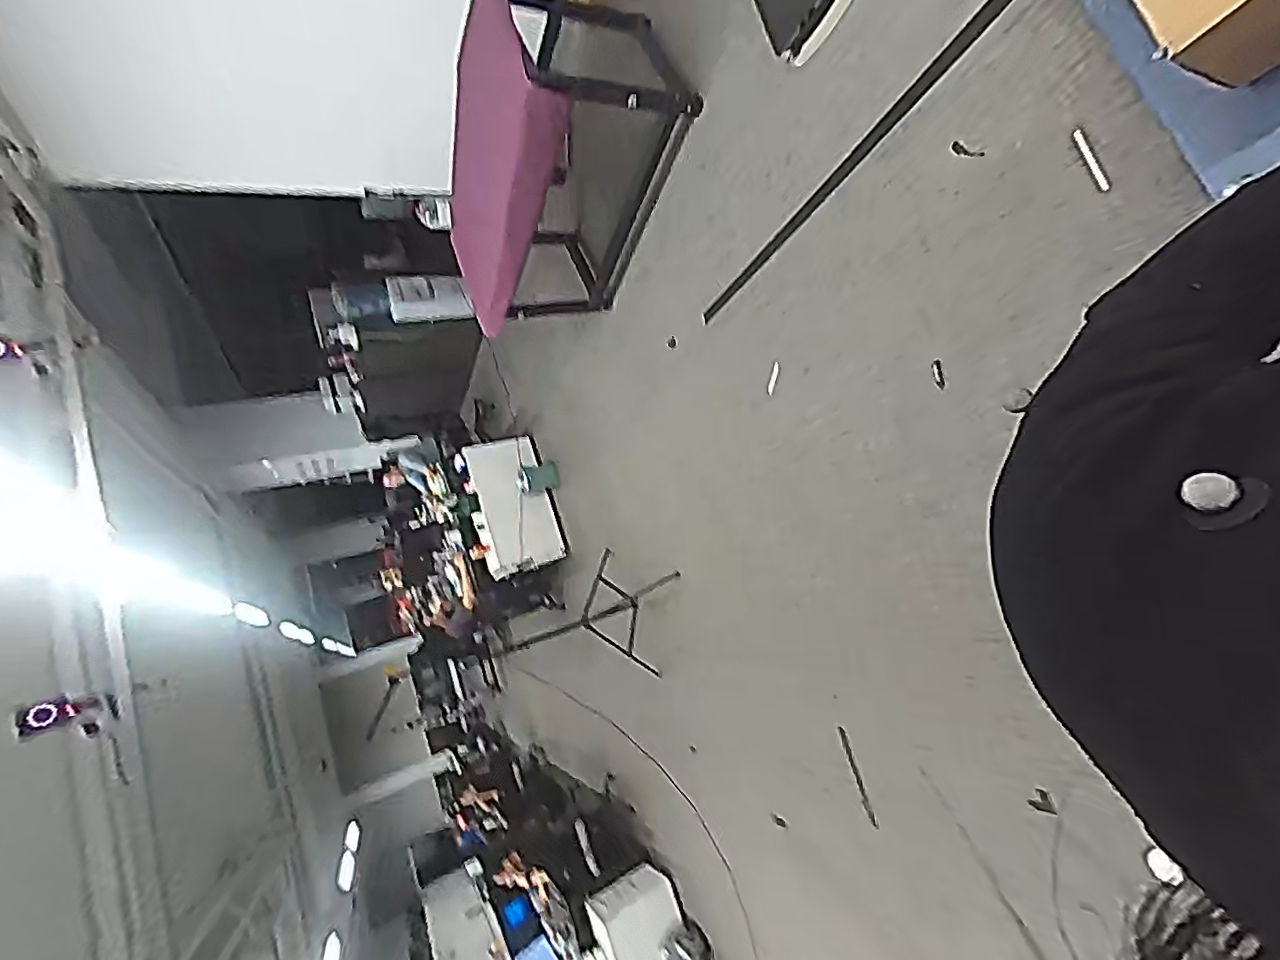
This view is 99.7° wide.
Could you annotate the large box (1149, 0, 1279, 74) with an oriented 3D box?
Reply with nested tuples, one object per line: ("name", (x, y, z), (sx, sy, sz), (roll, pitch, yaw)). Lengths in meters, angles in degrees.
("large box", (0.868, -0.799, 0.634), (0.408, 0.320, 0.320), (-37, 69, 60))
